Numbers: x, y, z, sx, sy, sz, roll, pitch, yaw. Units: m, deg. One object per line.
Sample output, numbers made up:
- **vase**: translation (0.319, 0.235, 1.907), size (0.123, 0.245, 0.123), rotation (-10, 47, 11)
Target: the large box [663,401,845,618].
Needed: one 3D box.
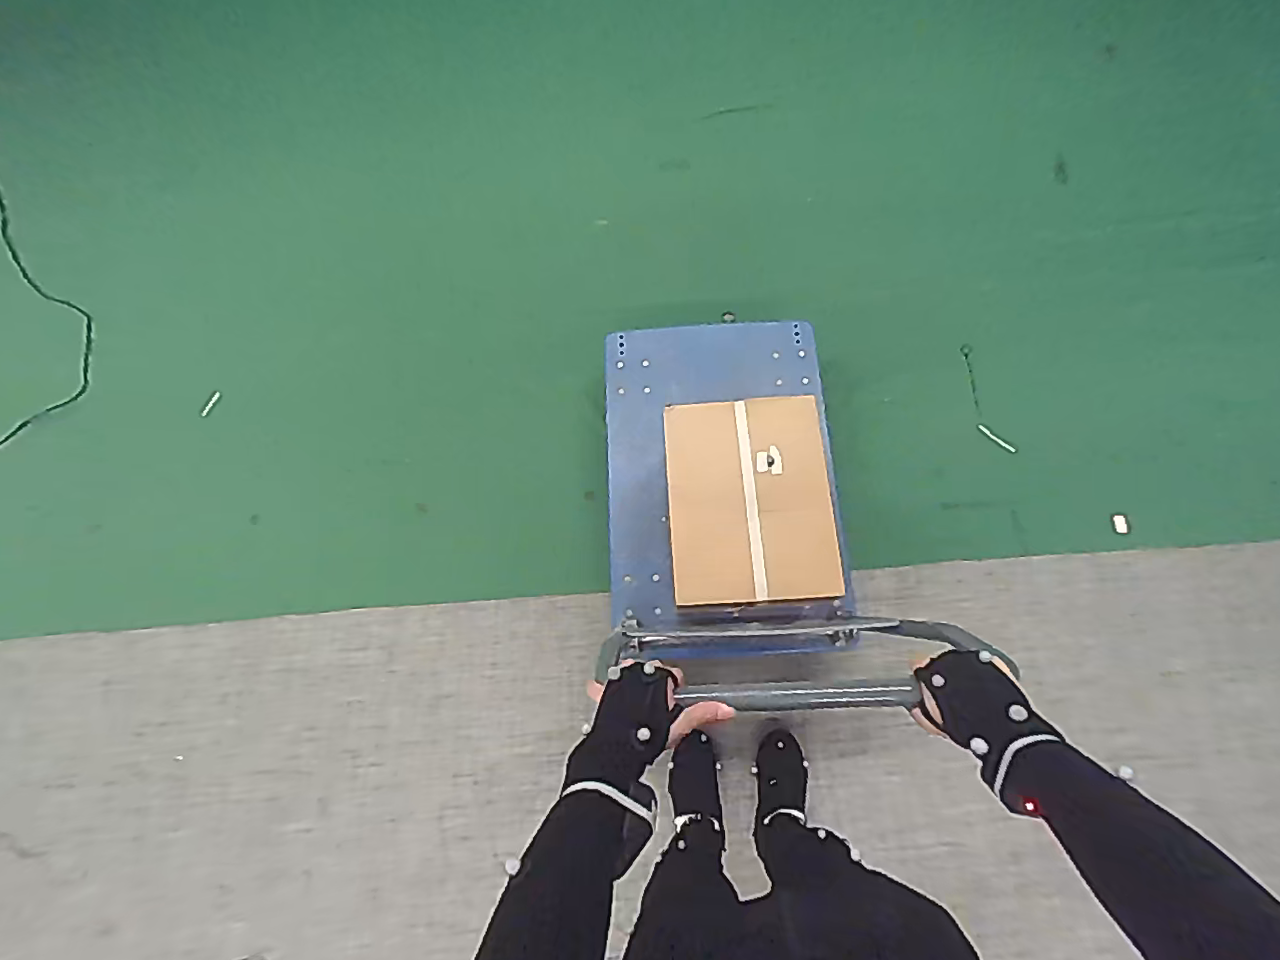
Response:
- **large box**: translation (0.222, 0.083, 1.194), size (0.320, 0.320, 0.408), rotation (-4, 73, 2)
